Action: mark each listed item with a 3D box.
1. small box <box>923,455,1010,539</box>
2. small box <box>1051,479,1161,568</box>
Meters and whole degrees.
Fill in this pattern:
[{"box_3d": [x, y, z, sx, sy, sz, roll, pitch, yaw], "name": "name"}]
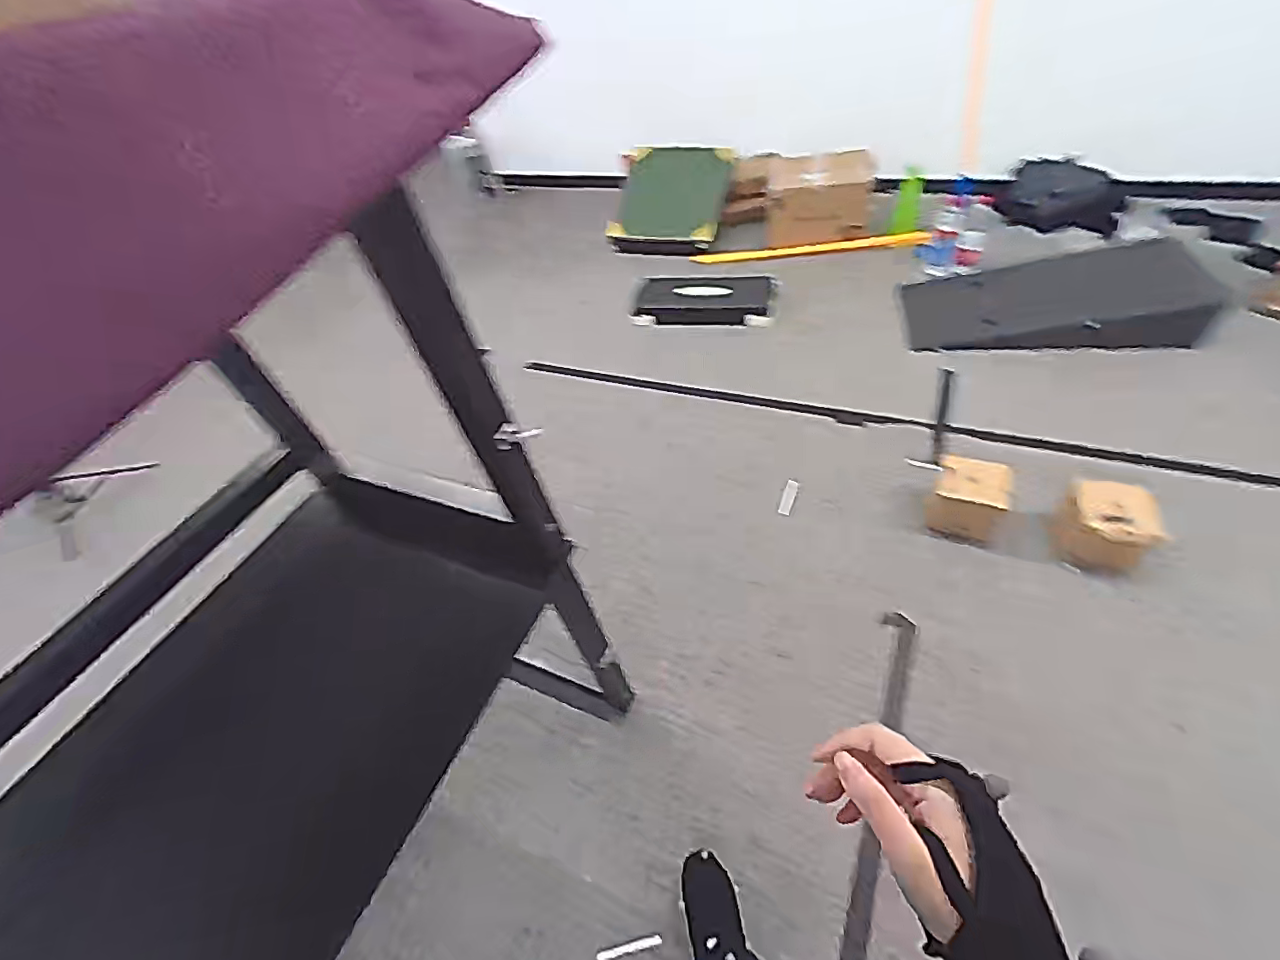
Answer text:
[{"box_3d": [0.970, 0.054, 1.613, 0.179, 0.176, 0.168, 14, 54, 21], "name": "small box"}, {"box_3d": [1.277, 0.123, 1.496, 0.168, 0.176, 0.179, 8, 51, 17], "name": "small box"}]
